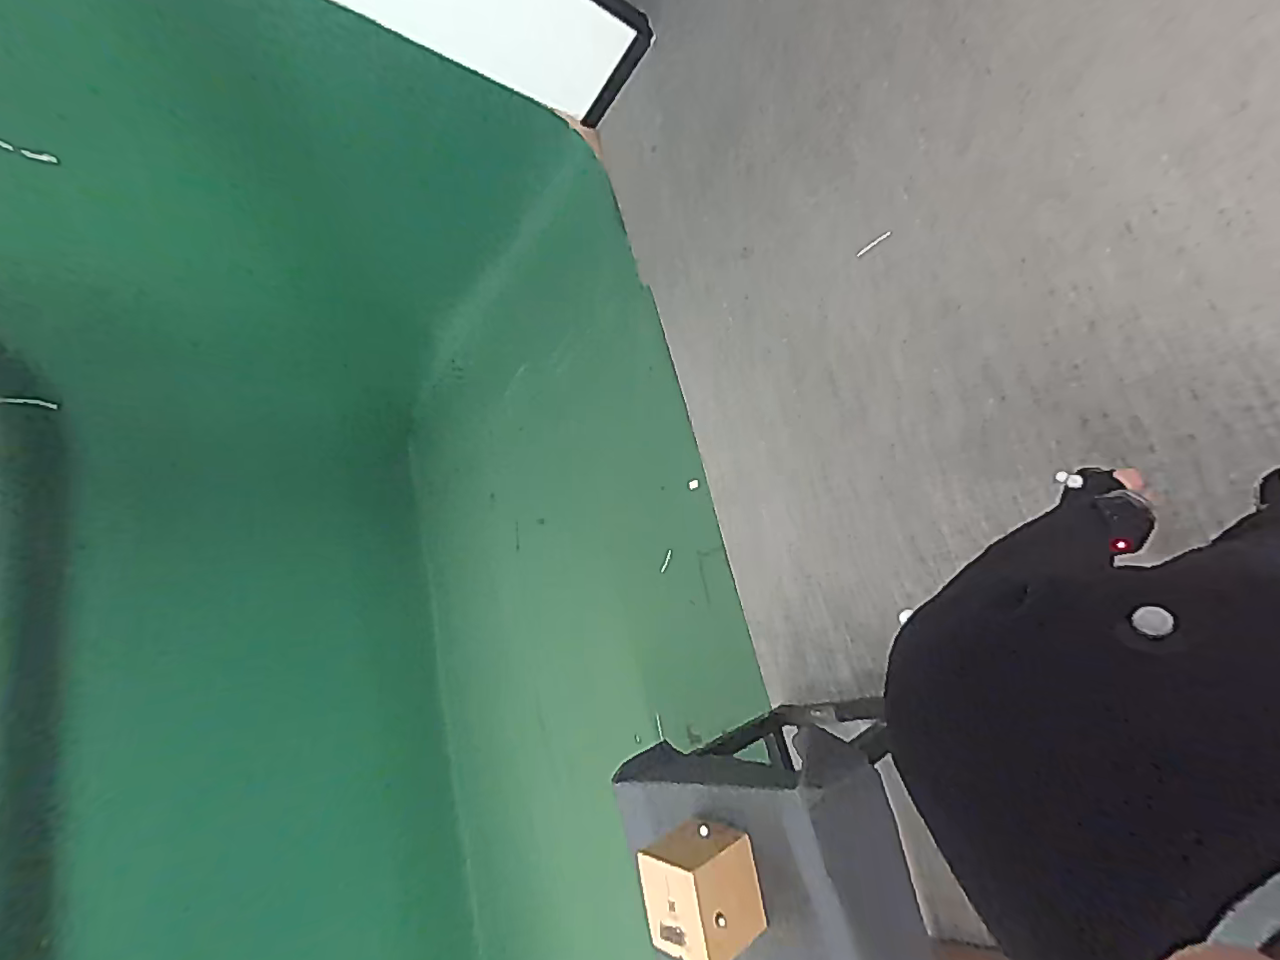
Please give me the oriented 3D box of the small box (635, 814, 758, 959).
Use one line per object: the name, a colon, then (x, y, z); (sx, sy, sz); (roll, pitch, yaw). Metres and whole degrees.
small box: (0.117, 0.819, 1.096); (0.168, 0.176, 0.179); (-22, 75, 47)
